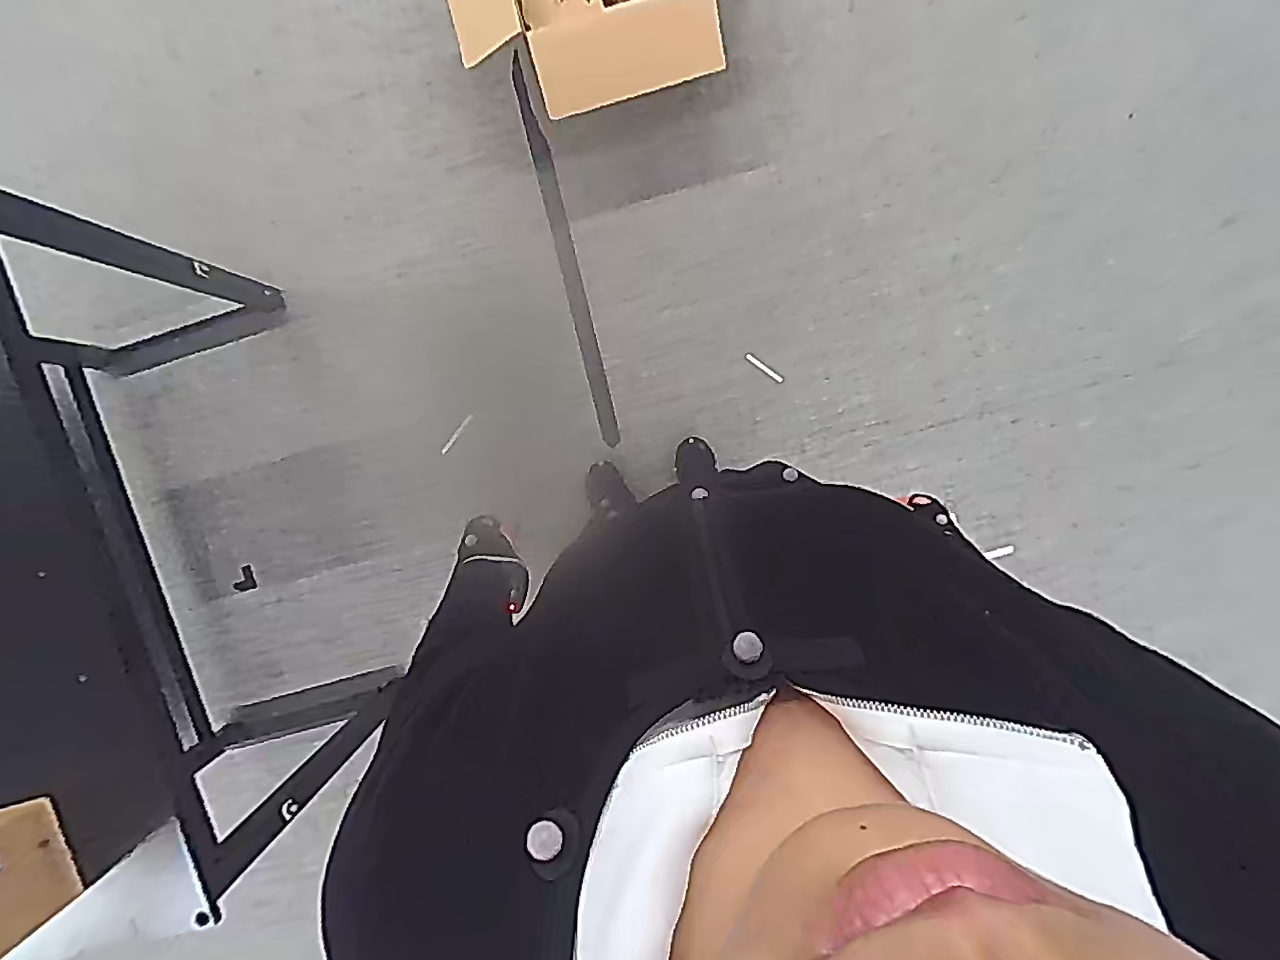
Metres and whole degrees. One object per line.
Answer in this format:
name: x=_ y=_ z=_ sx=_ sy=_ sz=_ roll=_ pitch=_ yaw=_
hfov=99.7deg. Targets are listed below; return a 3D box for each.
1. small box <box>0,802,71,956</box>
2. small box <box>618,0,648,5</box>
small box: x=-0.973 y=0.593 z=0.762 sx=0.179 sy=0.176 sz=0.168 roll=-16 pitch=94 yaw=4
small box: x=0.010 y=-1.138 z=1.115 sx=0.168 sy=0.176 sz=0.179 roll=-21 pitch=95 yaw=-1
